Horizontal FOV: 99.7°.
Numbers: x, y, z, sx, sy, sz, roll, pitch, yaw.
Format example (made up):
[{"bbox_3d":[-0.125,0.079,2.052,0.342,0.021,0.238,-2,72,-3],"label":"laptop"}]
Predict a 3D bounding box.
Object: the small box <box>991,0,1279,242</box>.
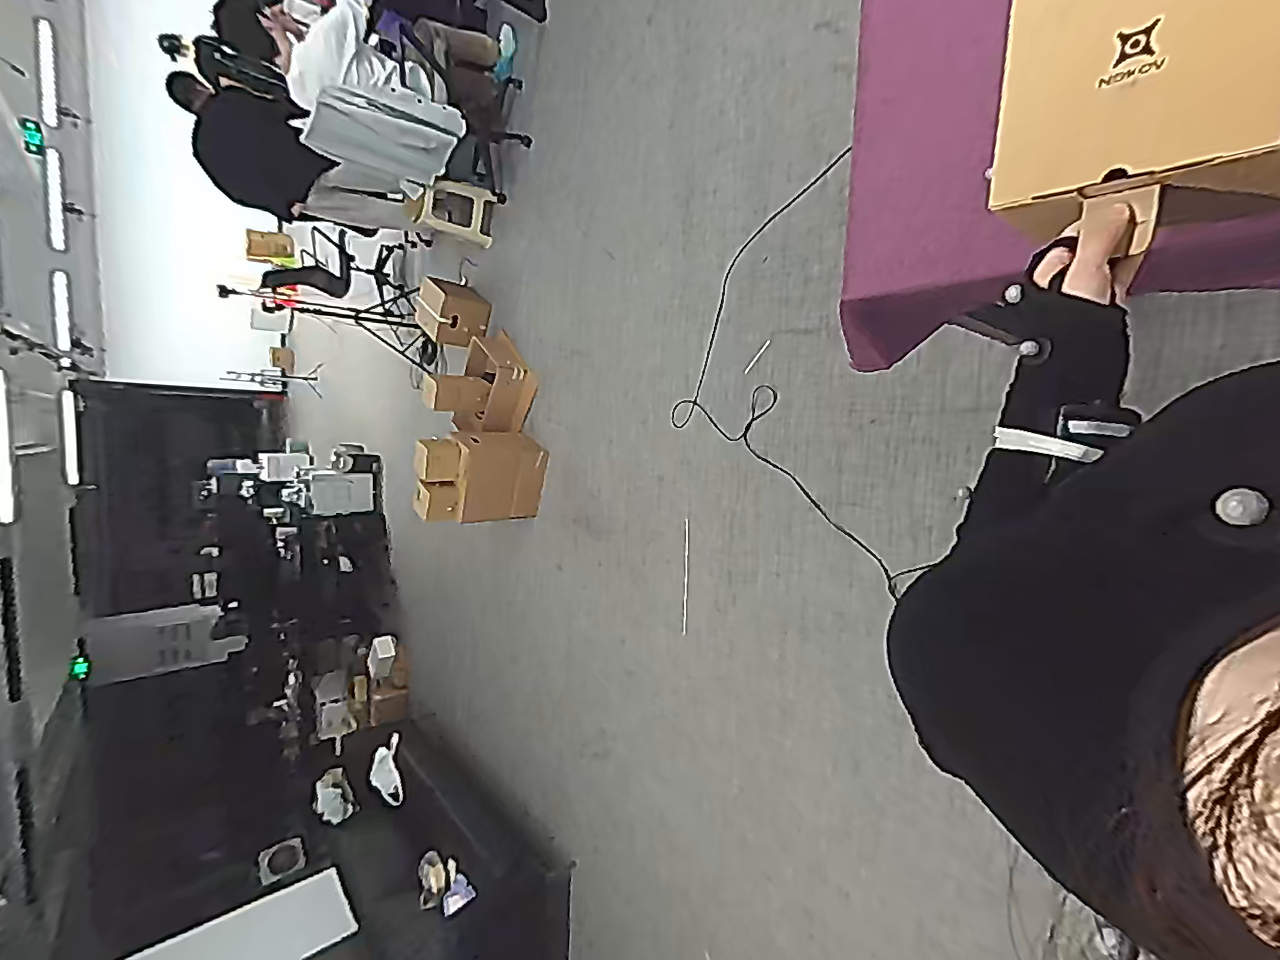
[{"bbox_3d":[0.423,-0.319,0.451,0.168,0.176,0.179,12,105,49],"label":"small box"}]
